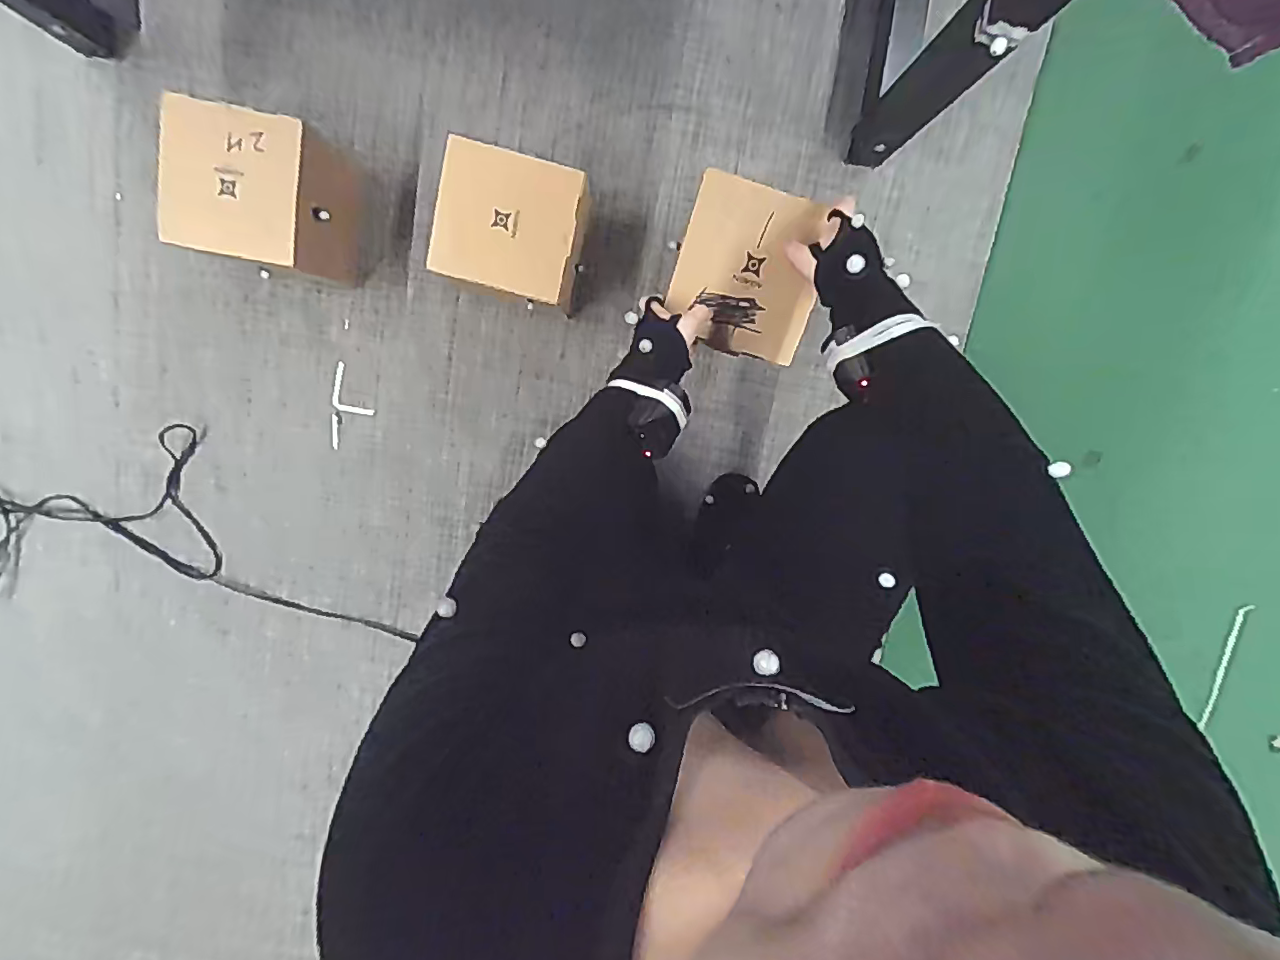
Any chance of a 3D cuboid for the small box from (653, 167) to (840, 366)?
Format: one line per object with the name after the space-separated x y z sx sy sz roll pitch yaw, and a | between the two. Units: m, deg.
0.123 -0.263 0.689 0.168 0.176 0.179 17 108 -3 | small box
